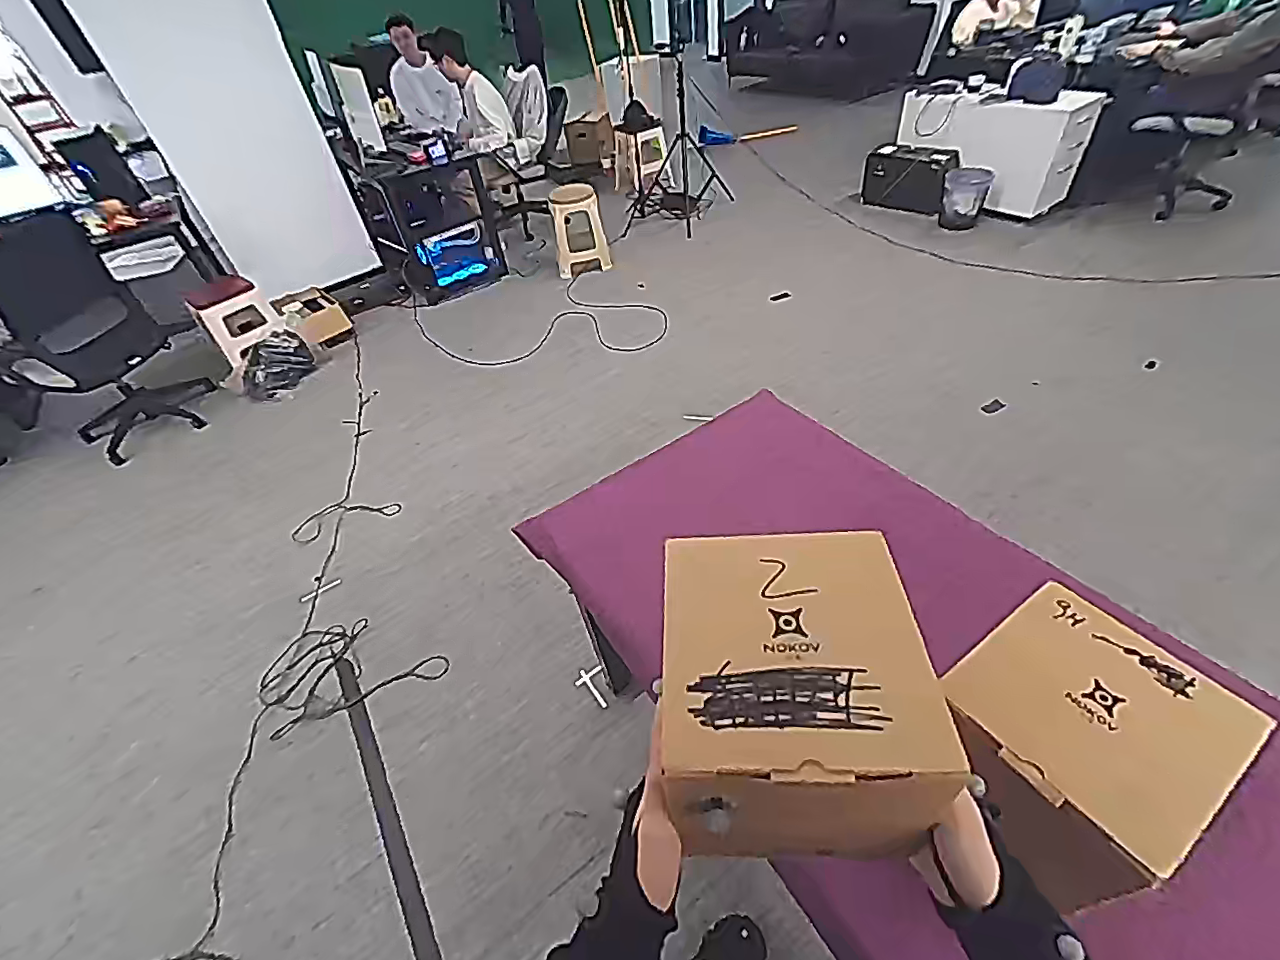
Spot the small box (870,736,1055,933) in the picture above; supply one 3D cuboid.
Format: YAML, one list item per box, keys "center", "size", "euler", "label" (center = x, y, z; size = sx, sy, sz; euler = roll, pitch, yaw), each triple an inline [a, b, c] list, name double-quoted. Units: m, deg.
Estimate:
- center: [0.378, 0.348, 0.593]
  size: [0.179, 0.176, 0.168]
  euler: [-29, 48, -20]
  label: "small box"

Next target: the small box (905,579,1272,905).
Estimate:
- center: [0.364, 0.231, 0.480]
  size: [0.179, 0.176, 0.168]
  euler: [-29, 48, -19]
  label: "small box"
